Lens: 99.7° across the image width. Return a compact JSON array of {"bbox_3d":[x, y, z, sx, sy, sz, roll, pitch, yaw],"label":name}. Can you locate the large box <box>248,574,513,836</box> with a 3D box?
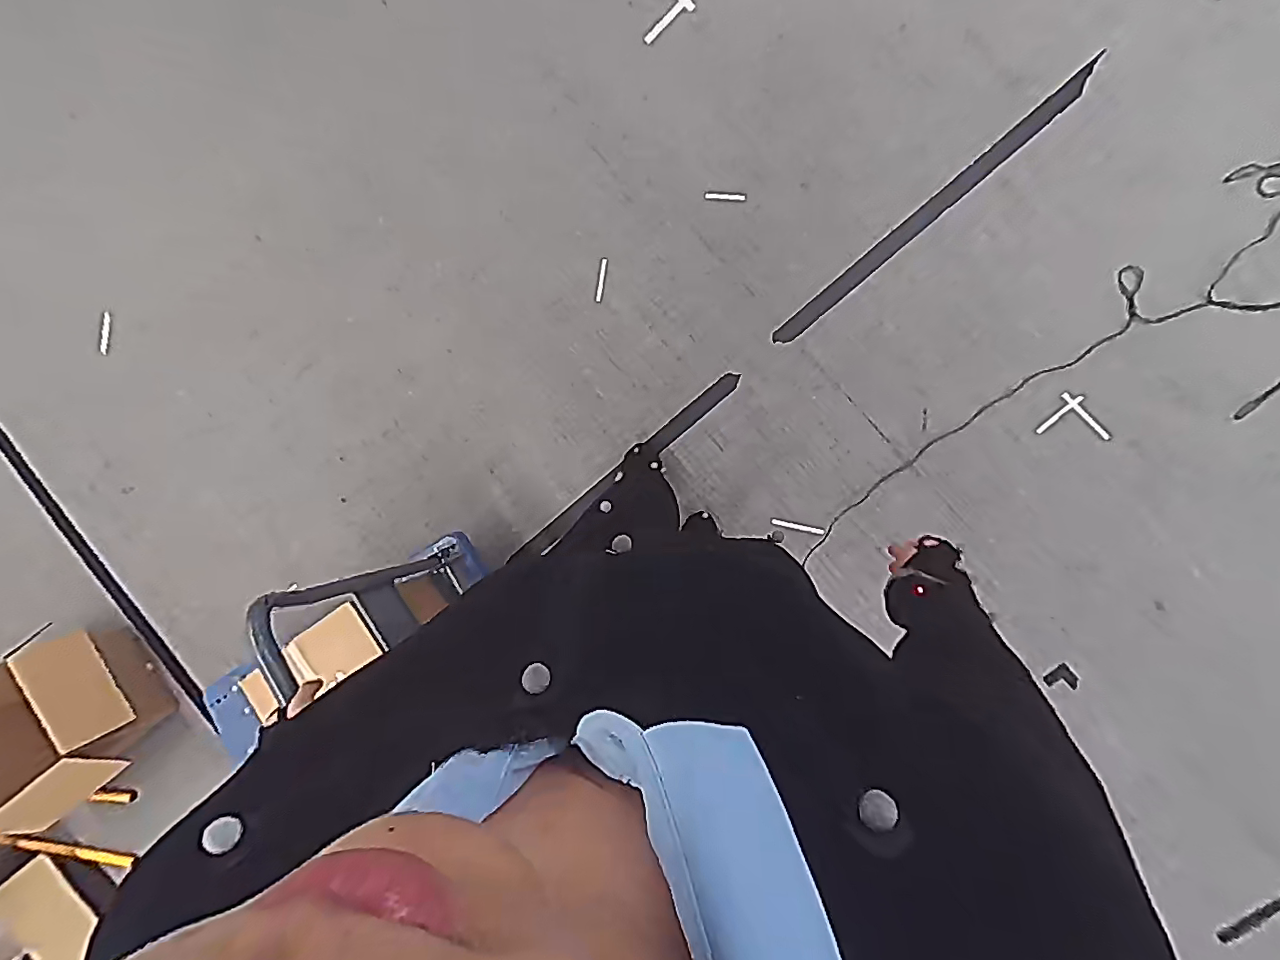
[{"bbox_3d":[-0.571,0.487,1.252,0.320,0.320,0.408,-35,85,5],"label":"large box"}]
